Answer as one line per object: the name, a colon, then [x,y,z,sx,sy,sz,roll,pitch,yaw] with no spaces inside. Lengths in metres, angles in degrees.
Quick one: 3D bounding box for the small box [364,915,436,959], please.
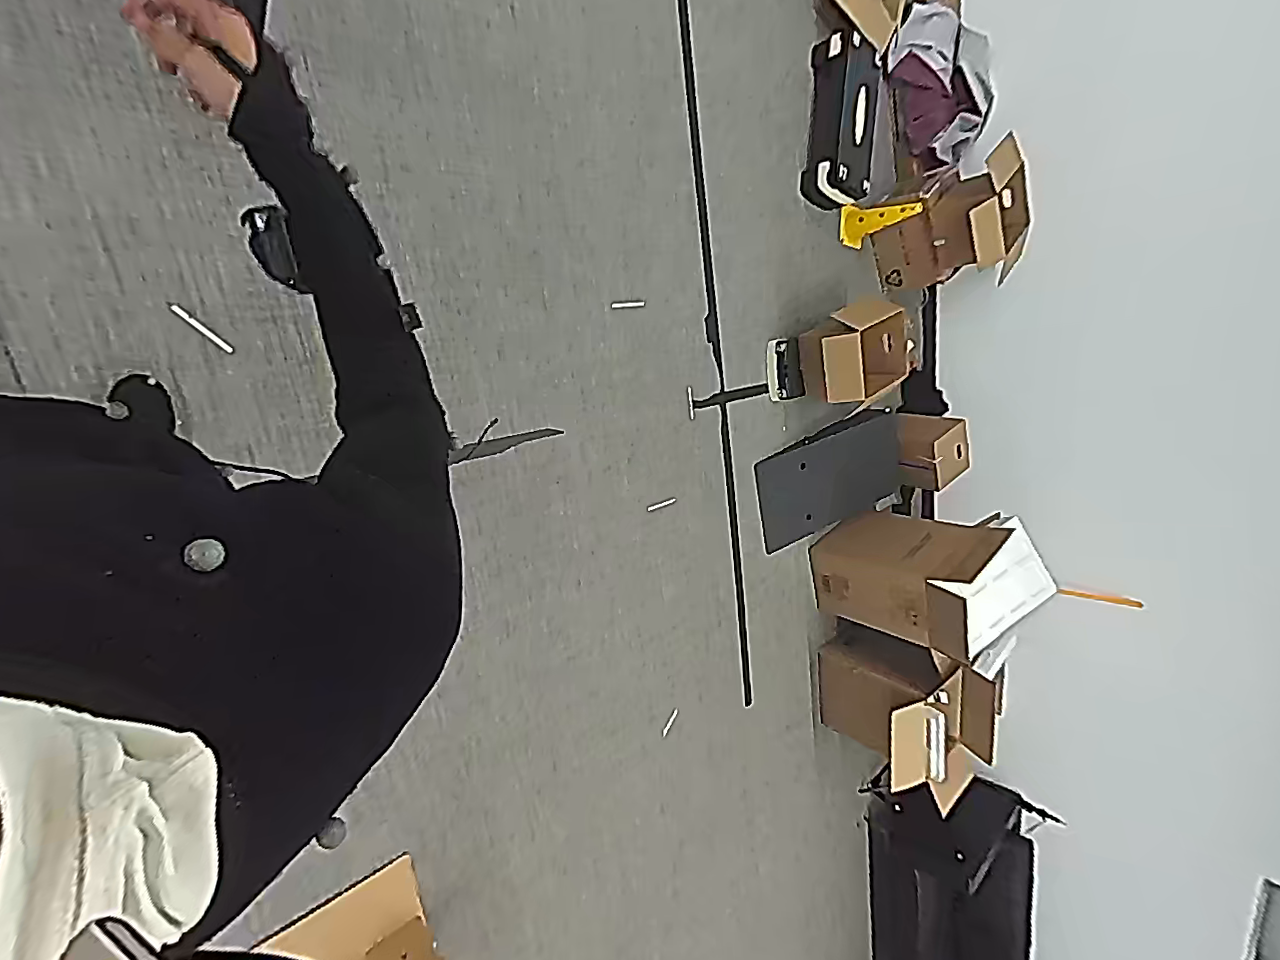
small box: [-0.742,1.530,1.683,0.179,0.176,0.168,-18,108,-38]
